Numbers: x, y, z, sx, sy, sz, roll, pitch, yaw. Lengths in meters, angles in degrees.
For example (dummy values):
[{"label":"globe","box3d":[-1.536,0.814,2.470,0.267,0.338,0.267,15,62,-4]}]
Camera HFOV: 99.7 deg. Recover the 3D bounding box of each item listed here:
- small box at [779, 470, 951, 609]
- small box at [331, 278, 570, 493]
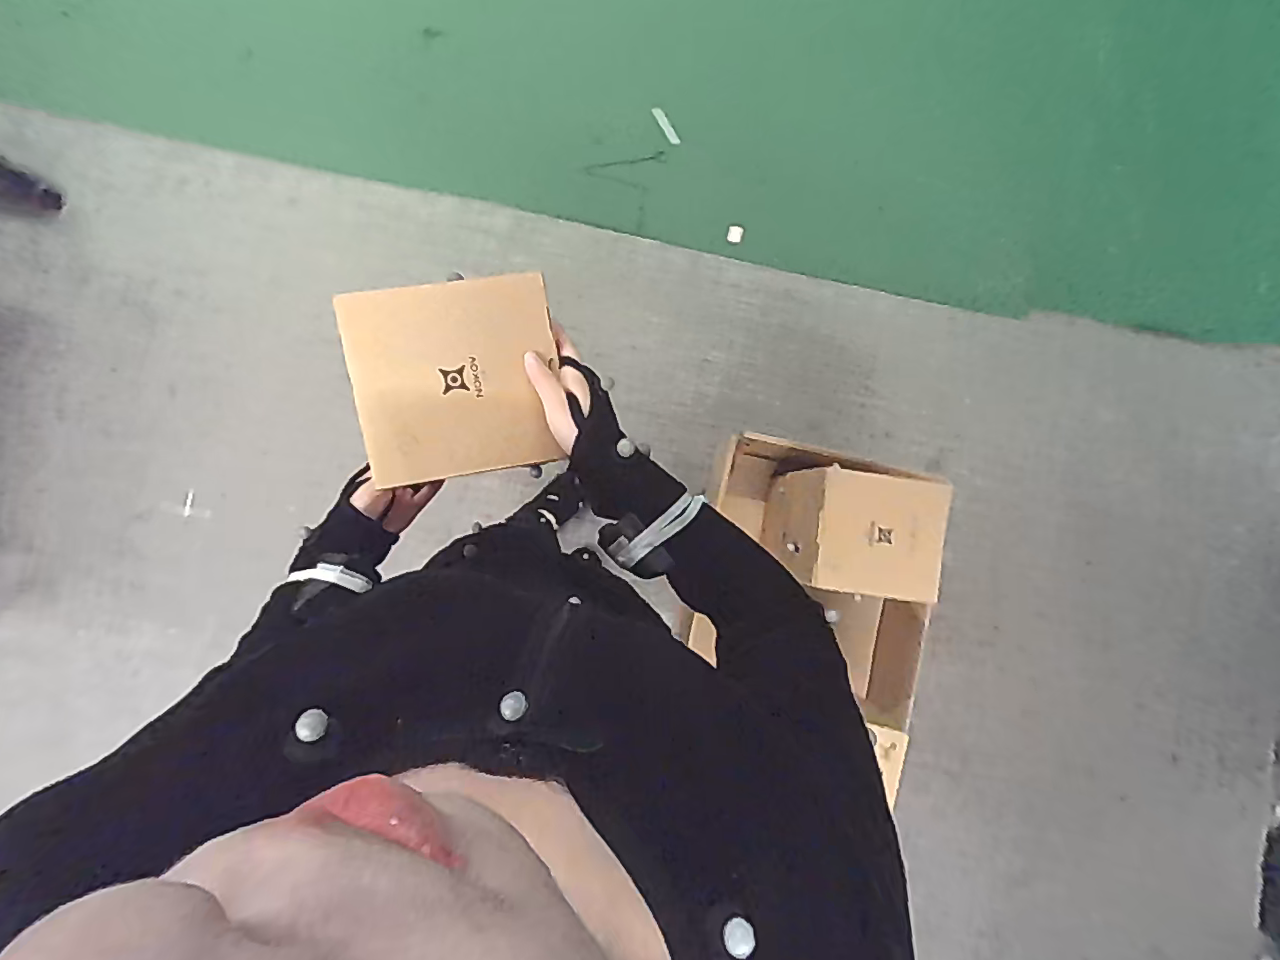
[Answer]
[{"label":"small box","box3d":[0.323,0.084,0.808,0.179,0.176,0.168,9,88,-3]},{"label":"small box","box3d":[-0.172,-0.085,0.544,0.179,0.176,0.168,-11,96,-9]}]
